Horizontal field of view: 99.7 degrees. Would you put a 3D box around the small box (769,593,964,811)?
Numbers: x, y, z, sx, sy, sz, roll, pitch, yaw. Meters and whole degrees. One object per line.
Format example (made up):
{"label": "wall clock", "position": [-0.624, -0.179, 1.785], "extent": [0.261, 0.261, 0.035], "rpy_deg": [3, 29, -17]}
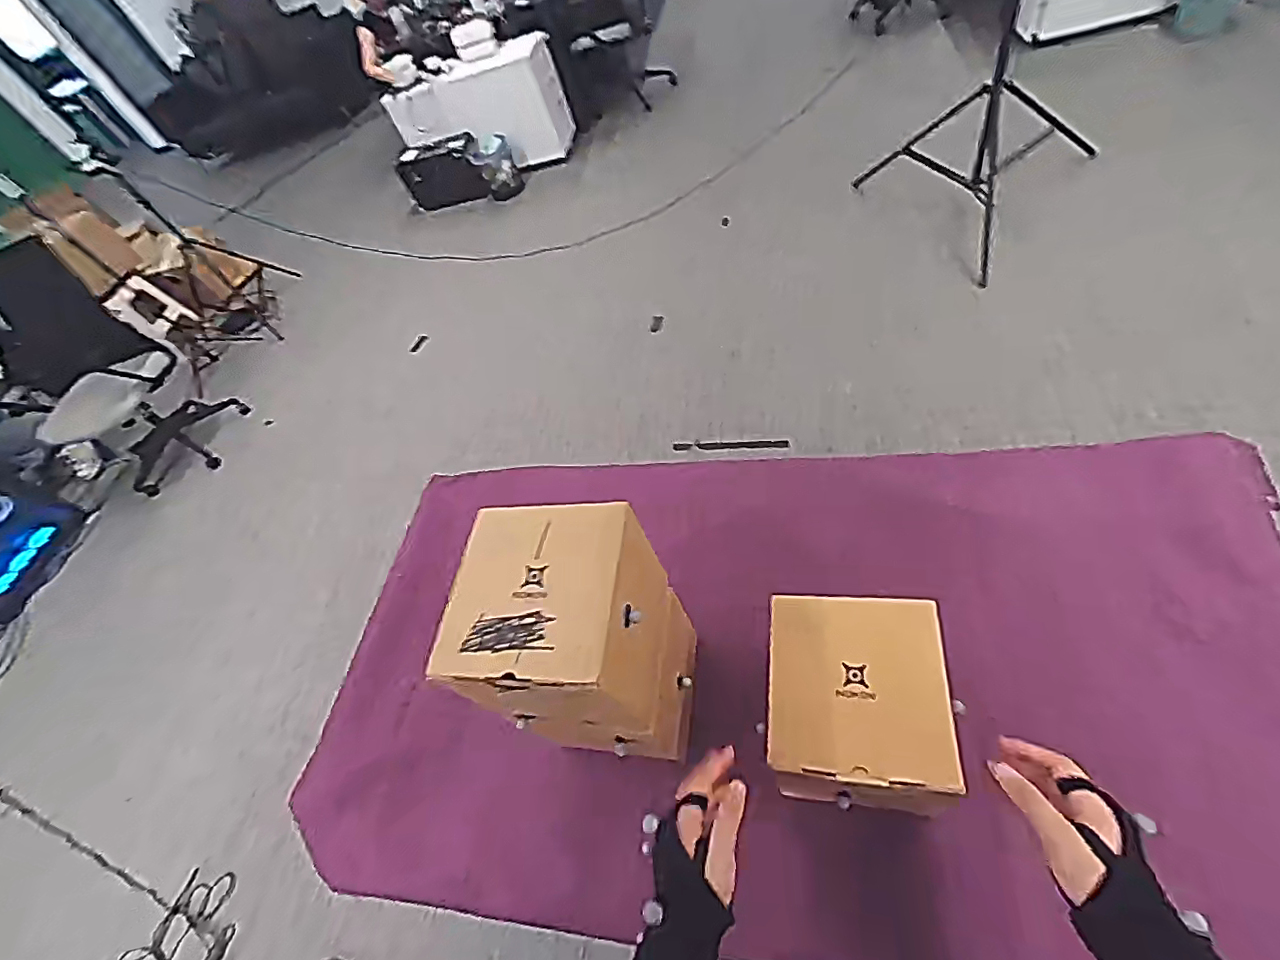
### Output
{"label": "small box", "position": [0.232, 0.241, 0.590], "extent": [0.168, 0.176, 0.179], "rpy_deg": [-2, 55, 18]}

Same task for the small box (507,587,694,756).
{"label": "small box", "position": [-0.034, 0.240, 0.683], "extent": [0.179, 0.176, 0.168], "rpy_deg": [-2, 55, 18]}

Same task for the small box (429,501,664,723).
{"label": "small box", "position": [-0.077, 0.141, 0.559], "extent": [0.168, 0.176, 0.179], "rpy_deg": [-3, 54, 17]}
